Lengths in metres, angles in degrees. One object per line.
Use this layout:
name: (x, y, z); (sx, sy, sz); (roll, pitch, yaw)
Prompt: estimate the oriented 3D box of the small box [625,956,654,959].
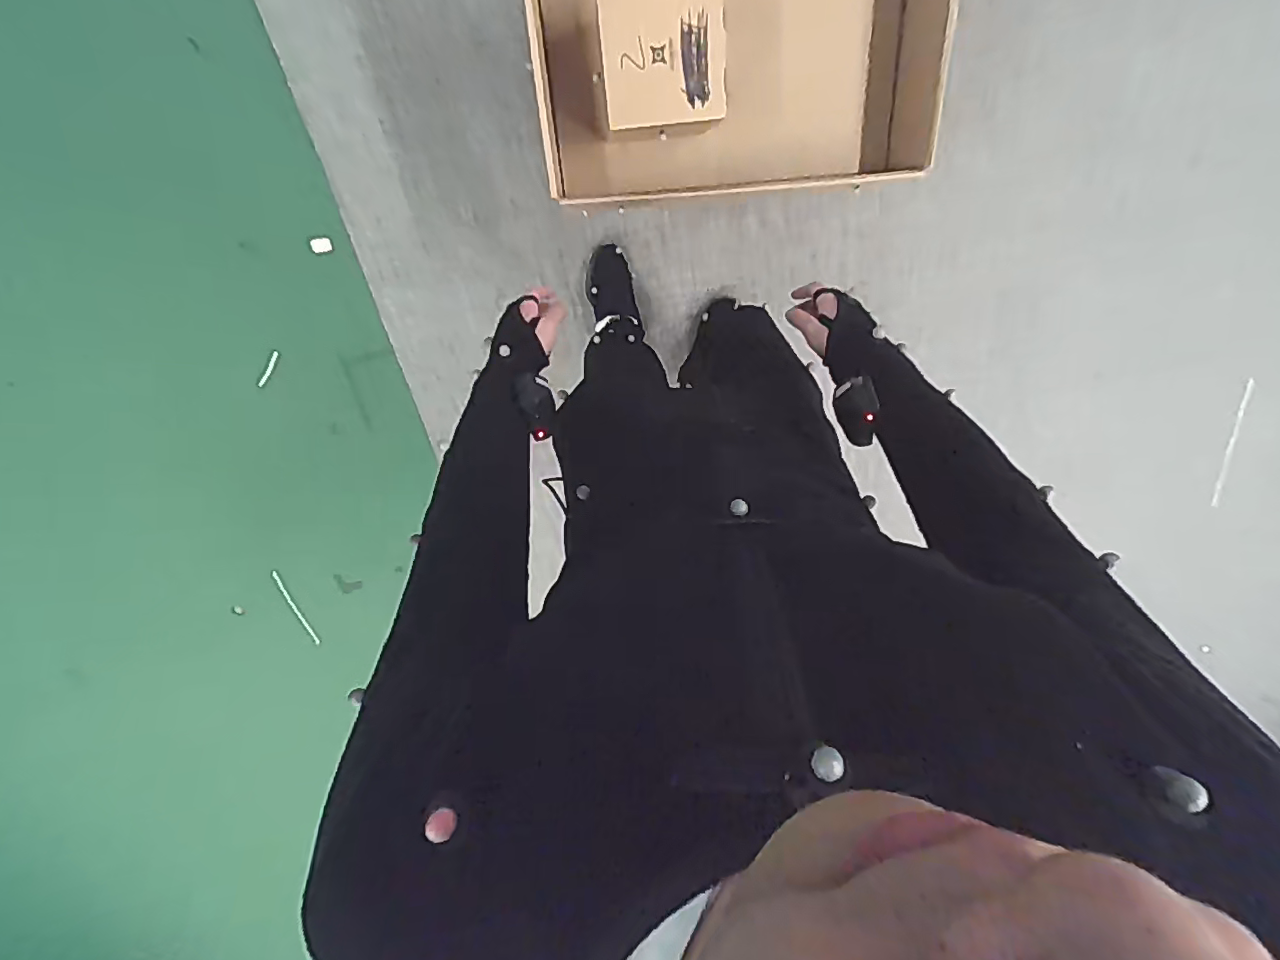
small box: (-0.017, 1.580, 1.626); (0.168, 0.176, 0.179); (-12, 117, 1)
